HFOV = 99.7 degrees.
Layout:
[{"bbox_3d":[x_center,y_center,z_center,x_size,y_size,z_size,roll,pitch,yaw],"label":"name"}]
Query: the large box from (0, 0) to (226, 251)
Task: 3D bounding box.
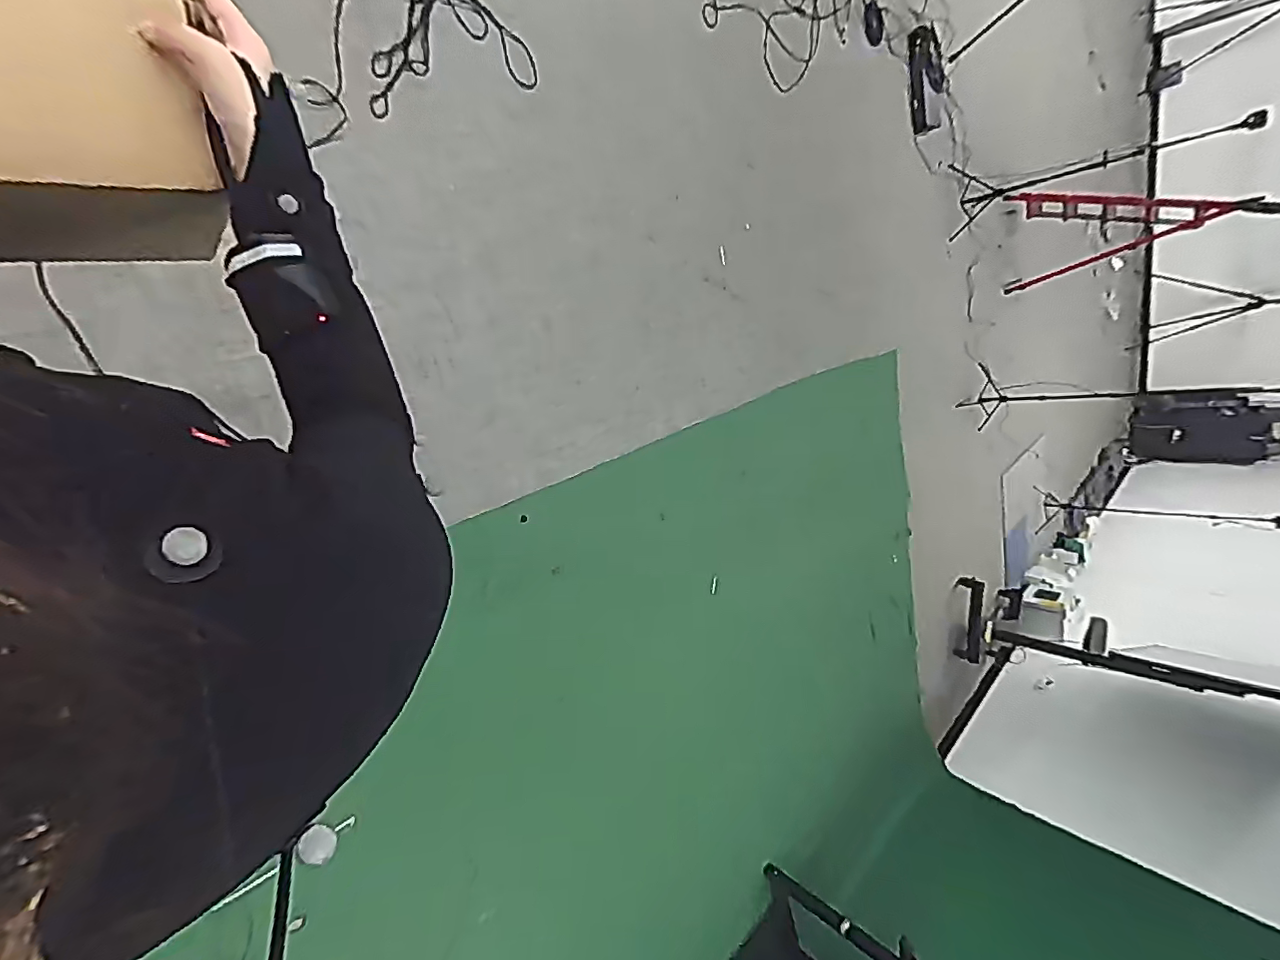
[{"bbox_3d":[-0.581,-0.341,0.371,0.408,0.320,0.320,-19,110,-36],"label":"large box"}]
